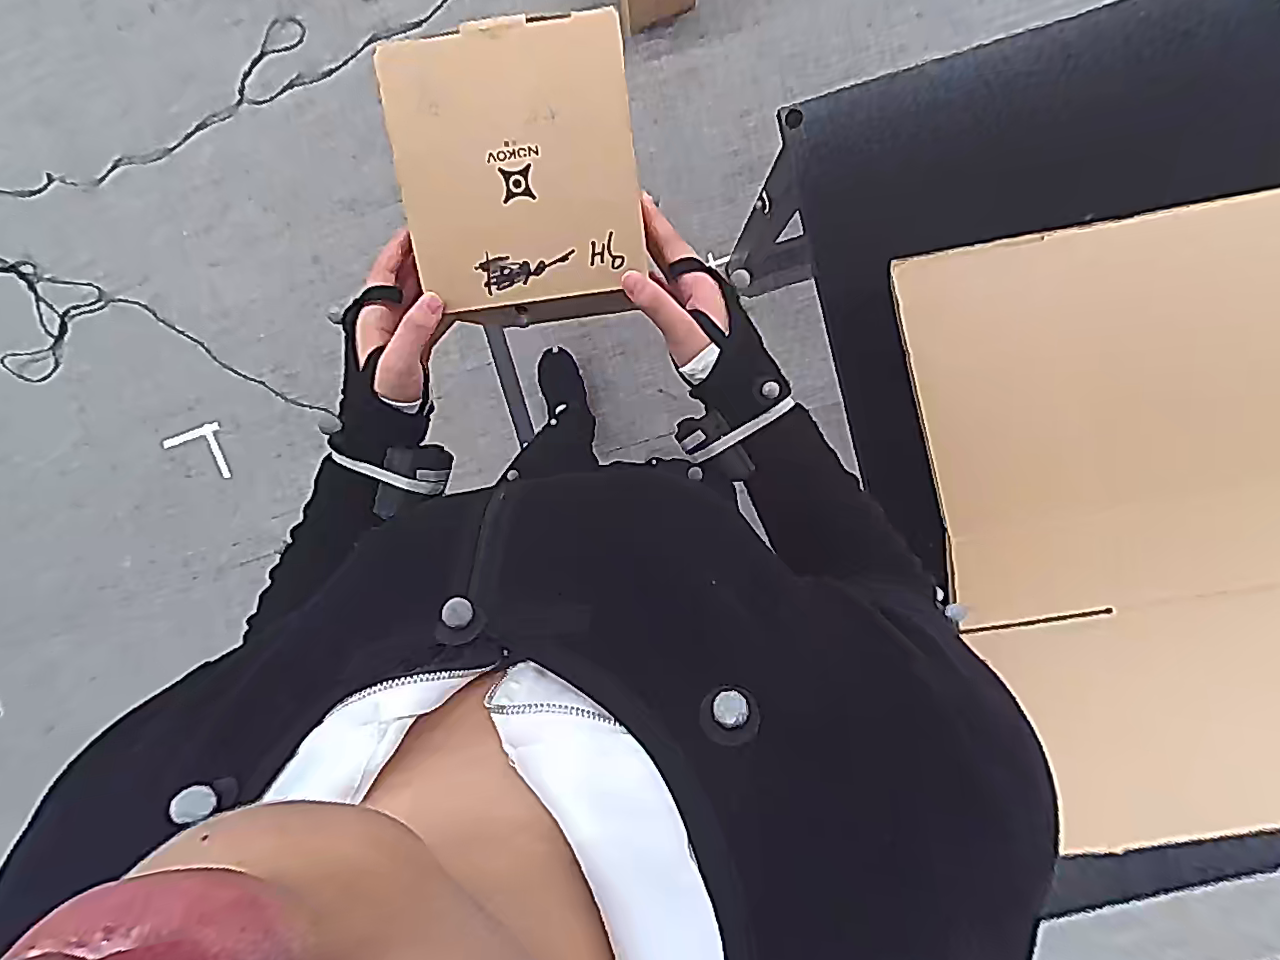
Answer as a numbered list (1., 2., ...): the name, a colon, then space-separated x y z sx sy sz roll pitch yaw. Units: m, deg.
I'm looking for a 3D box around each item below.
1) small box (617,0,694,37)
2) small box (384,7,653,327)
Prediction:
1. small box: 0.029 -1.187 1.247 0.179 0.176 0.168 -19 96 5
2. small box: -0.080 -0.234 0.453 0.168 0.176 0.179 -7 101 4
